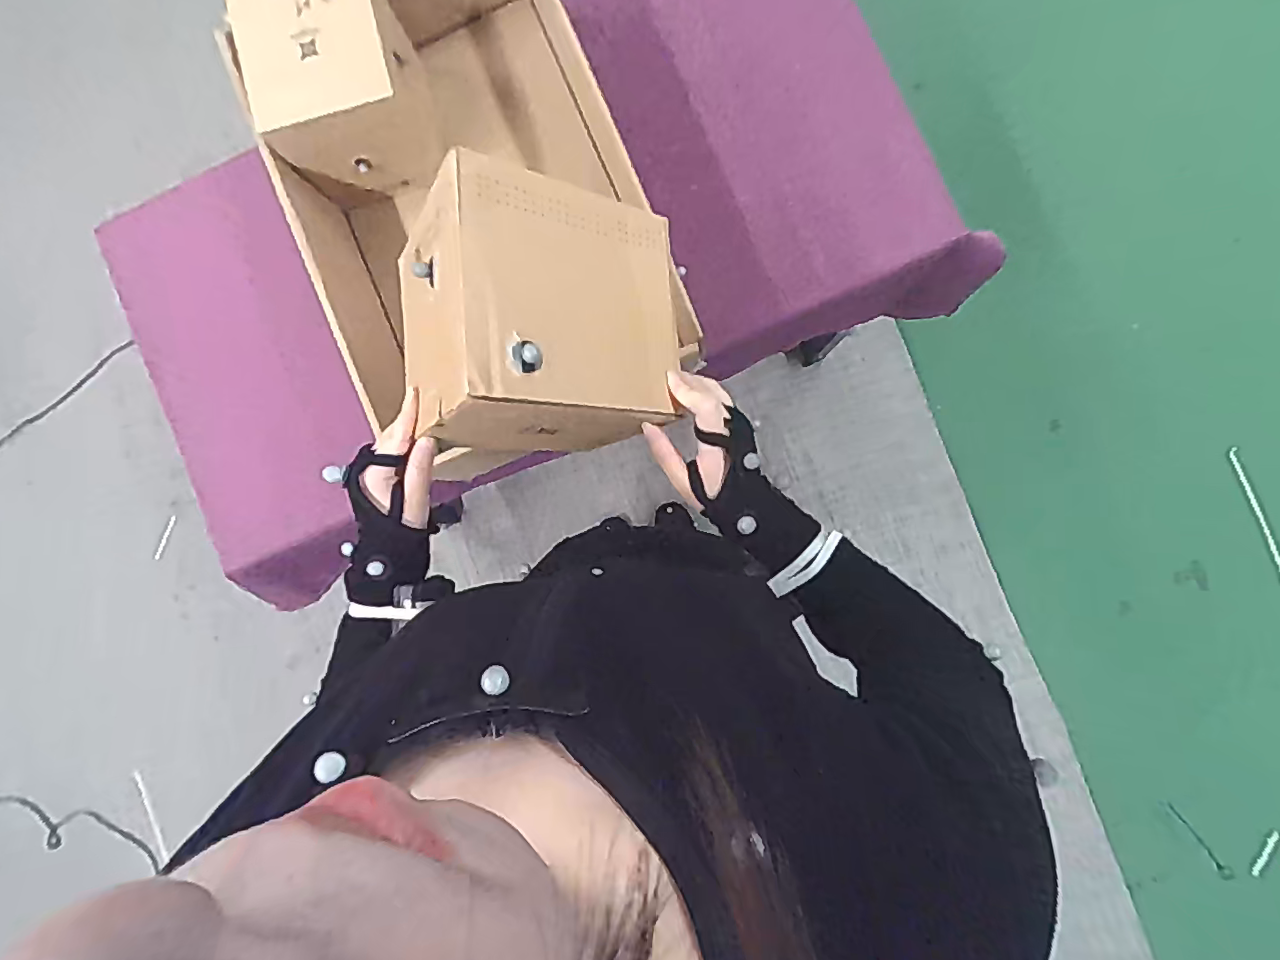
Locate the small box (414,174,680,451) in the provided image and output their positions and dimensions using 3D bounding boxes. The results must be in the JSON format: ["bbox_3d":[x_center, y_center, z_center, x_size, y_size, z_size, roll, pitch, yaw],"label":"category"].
[{"bbox_3d":[-0.085,-0.123,0.463,0.179,0.168,0.176,2,82,-34],"label":"small box"}]
